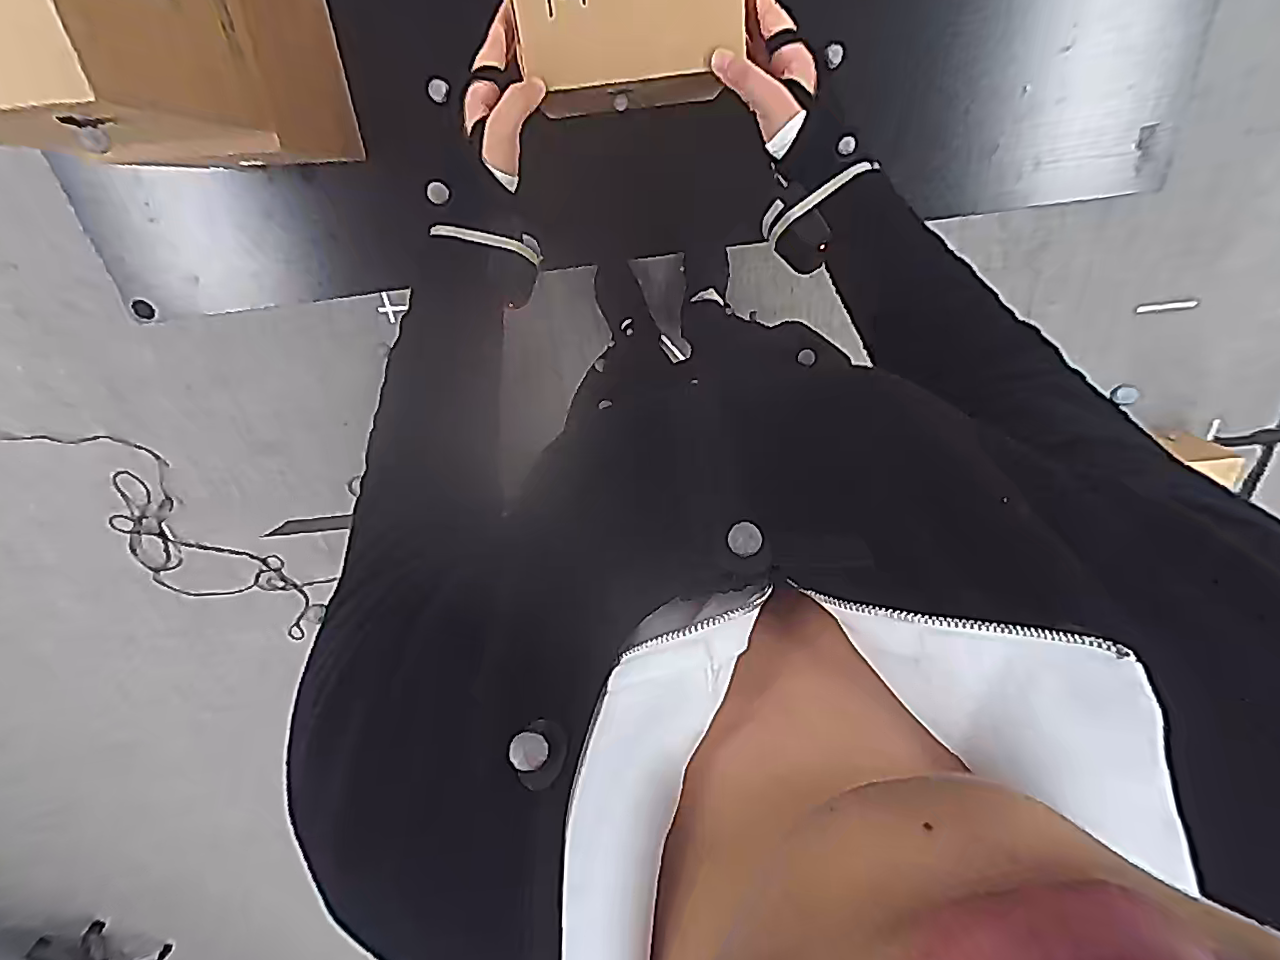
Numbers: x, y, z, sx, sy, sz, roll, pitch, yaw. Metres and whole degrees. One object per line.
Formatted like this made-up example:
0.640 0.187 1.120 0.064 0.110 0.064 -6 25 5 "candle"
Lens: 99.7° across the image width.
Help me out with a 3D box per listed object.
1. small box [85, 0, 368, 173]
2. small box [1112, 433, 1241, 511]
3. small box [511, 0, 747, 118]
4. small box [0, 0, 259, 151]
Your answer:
-0.371 -0.373 0.469 0.168 0.176 0.179 -4 119 1 "small box"
1.521 -0.026 1.549 0.179 0.176 0.168 -4 119 2 "small box"
-0.013 -0.419 0.455 0.179 0.176 0.168 -6 118 1 "small box"
-0.372 -0.300 0.321 0.179 0.176 0.168 -4 118 1 "small box"
